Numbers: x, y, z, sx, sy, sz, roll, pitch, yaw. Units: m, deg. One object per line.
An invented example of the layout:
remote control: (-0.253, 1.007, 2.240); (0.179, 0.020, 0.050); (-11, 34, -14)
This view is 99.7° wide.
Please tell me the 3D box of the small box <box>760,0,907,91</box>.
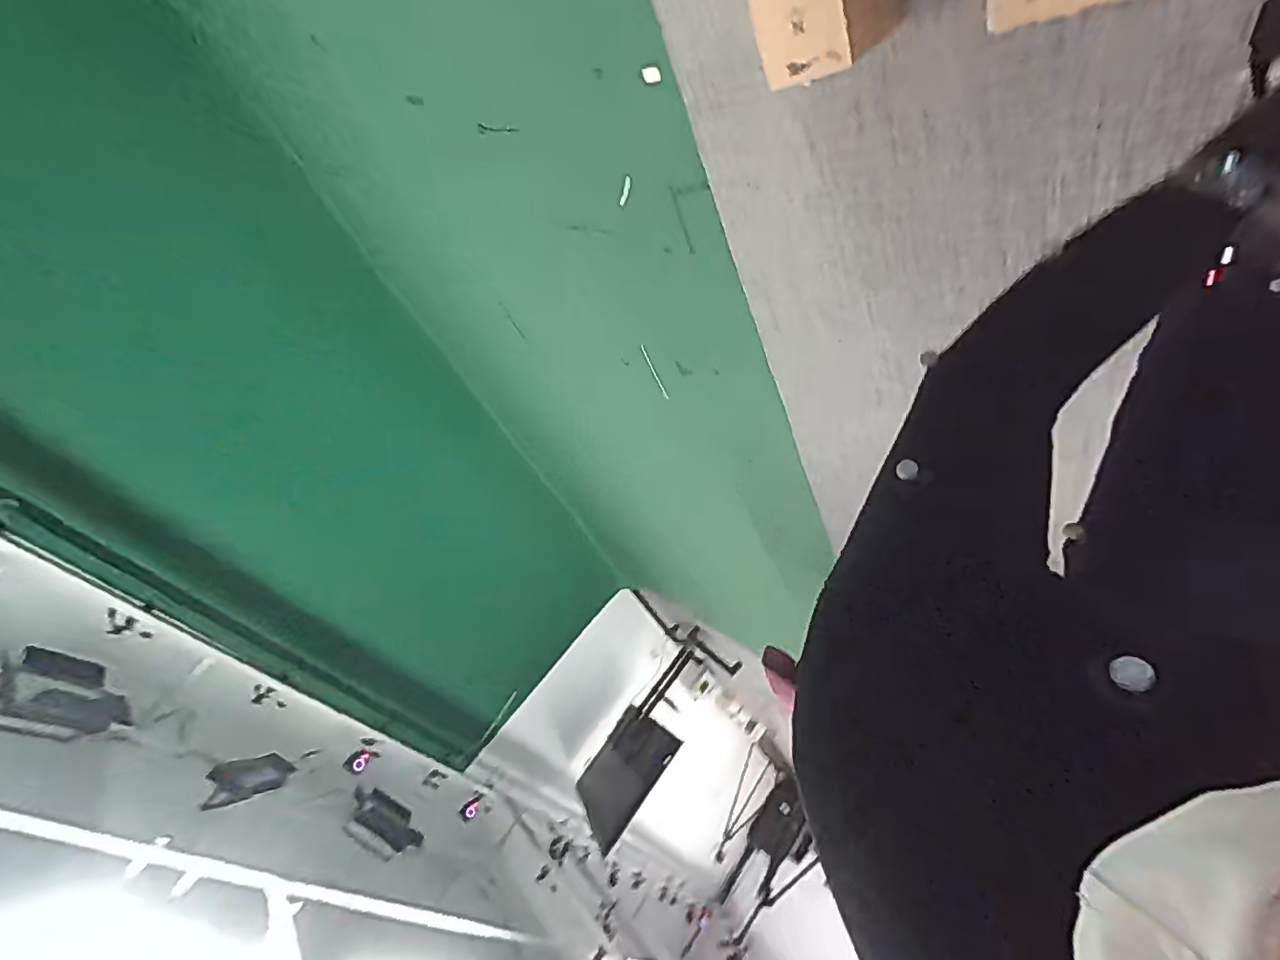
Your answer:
small box: (0.331, -0.812, 0.919); (0.168, 0.176, 0.179); (24, 153, 46)

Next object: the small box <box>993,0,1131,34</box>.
small box: (0.565, -0.710, 0.668); (0.168, 0.176, 0.179); (24, 154, 44)
